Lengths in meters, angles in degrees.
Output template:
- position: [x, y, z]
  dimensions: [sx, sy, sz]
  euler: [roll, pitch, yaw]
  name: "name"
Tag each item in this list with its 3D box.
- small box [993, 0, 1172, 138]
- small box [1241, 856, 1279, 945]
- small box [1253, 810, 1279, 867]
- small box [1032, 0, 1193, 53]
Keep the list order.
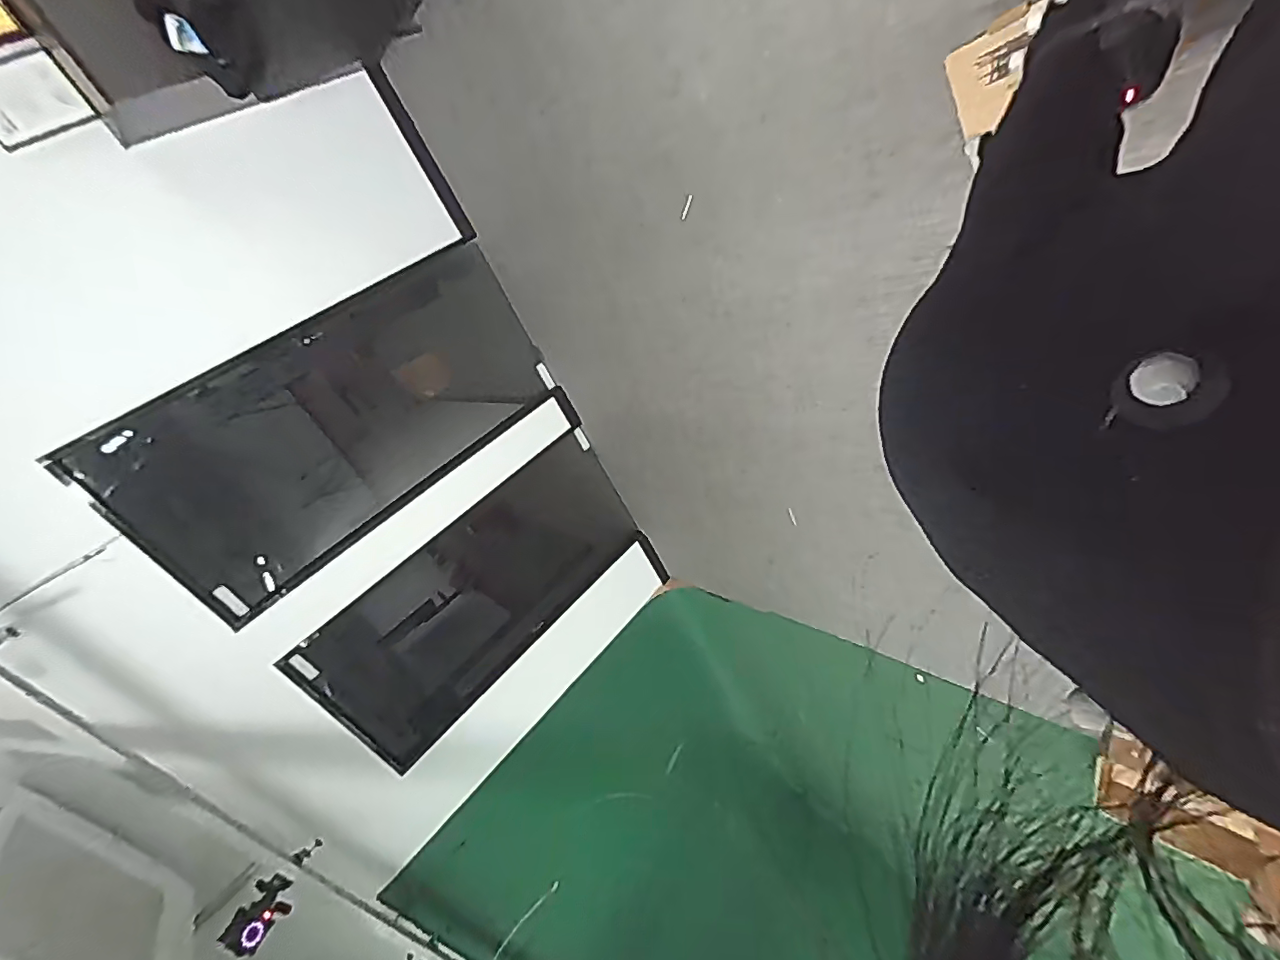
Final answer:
- position: [0.693, -0.681, 0.843]
  dimensions: [0.179, 0.176, 0.168]
  euler: [8, 133, 55]
  name: "small box"
- position: [1.906, 1.252, 1.573]
  dimensions: [0.179, 0.176, 0.168]
  euler: [15, 139, 50]
  name: "small box"
- position: [2.017, 1.160, 1.653]
  dimensions: [0.168, 0.176, 0.179]
  euler: [14, 138, 50]
  name: "small box"
- position: [0.797, -0.789, 0.908]
  dimensions: [0.179, 0.176, 0.168]
  euler: [9, 135, 52]
  name: "small box"
